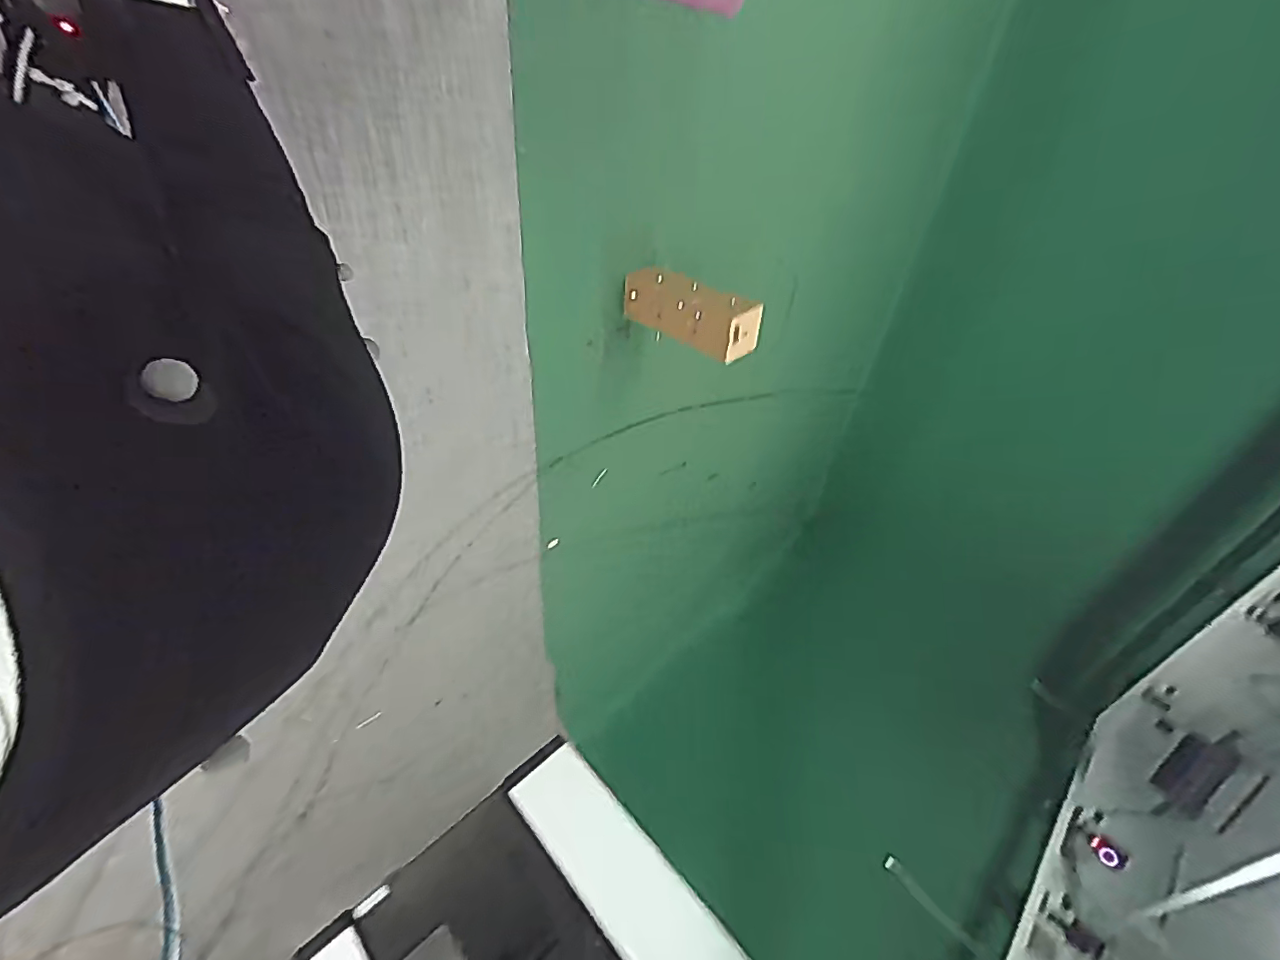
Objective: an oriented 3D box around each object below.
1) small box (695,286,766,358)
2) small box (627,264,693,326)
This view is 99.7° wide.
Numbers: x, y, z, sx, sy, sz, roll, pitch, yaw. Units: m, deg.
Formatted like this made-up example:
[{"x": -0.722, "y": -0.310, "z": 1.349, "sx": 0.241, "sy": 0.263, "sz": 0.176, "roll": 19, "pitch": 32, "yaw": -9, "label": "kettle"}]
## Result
[{"x": 0.308, "y": -0.550, "z": 1.874, "sx": 0.179, "sy": 0.176, "sz": 0.168, "roll": -33, "pitch": 143, "yaw": -31, "label": "small box"}, {"x": 0.072, "y": -0.706, "z": 2.043, "sx": 0.179, "sy": 0.176, "sz": 0.168, "roll": -28, "pitch": 139, "yaw": -35, "label": "small box"}]
